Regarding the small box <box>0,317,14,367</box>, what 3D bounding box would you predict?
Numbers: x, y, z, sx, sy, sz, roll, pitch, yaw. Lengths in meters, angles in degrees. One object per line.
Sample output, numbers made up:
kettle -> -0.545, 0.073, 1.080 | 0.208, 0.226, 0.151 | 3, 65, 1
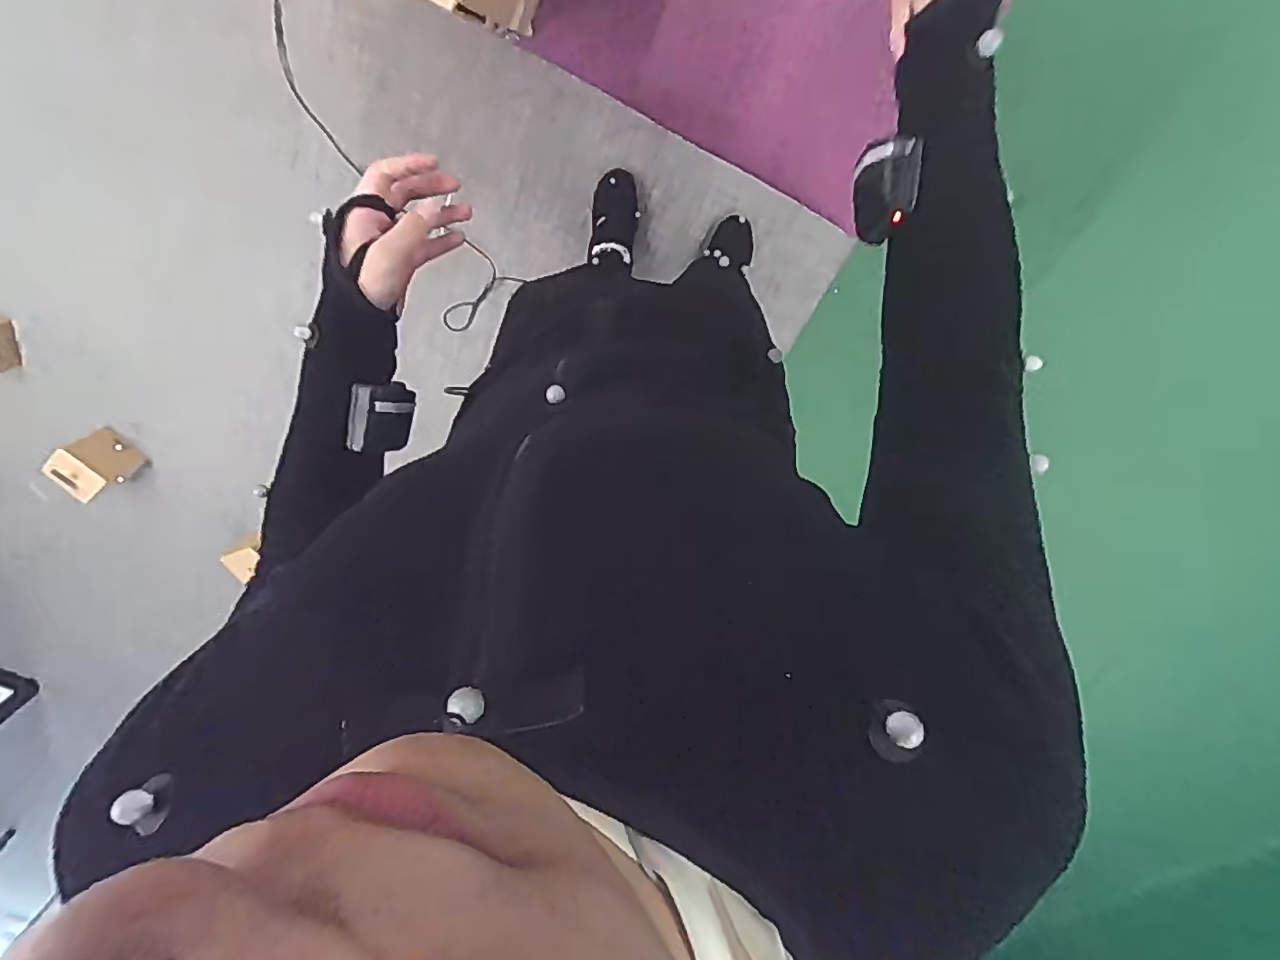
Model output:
small box -> -2.147, -0.446, 1.701 | 0.179, 0.176, 0.168 | 21, 121, -6
